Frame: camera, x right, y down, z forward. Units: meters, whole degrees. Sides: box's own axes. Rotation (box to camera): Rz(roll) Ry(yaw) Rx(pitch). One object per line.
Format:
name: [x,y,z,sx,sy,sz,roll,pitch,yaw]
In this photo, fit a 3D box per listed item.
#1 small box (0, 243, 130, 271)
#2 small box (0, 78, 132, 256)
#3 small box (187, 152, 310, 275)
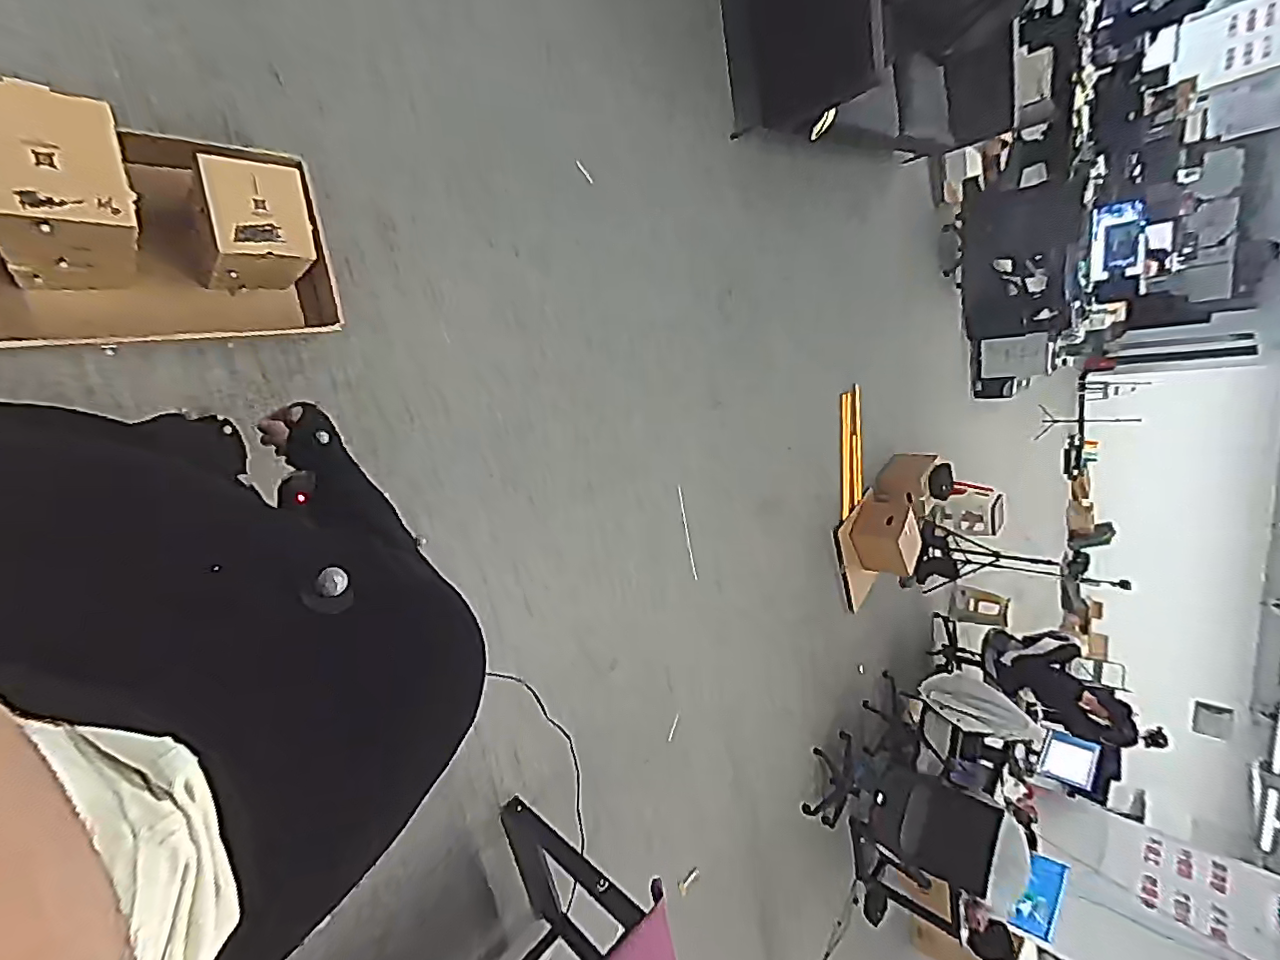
small box: [-0.993,-0.465,0.904,0.168,0.176,0.179,-18,105,-43]
small box: [-0.876,-0.447,0.789,0.168,0.176,0.179,-15,102,-44]
small box: [-0.793,-0.523,1.094,0.168,0.176,0.179,-15,102,-41]
